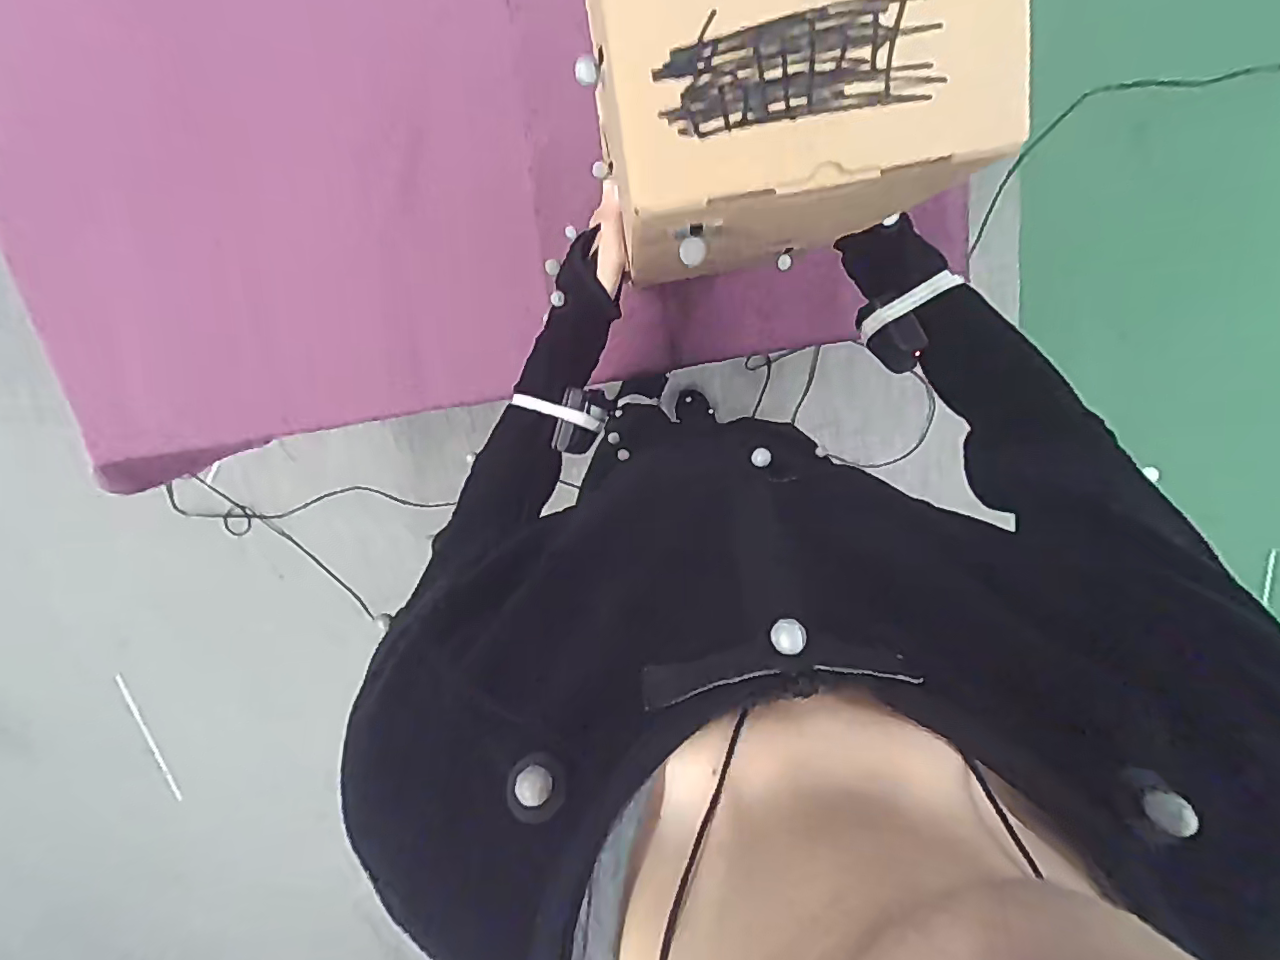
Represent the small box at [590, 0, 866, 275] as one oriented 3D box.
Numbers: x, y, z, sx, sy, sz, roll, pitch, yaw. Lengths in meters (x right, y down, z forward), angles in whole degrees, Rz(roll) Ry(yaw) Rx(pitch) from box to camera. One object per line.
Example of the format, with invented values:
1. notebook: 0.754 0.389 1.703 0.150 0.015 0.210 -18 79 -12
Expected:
1. small box: 0.063 -0.278 0.448 0.179 0.176 0.168 -10 103 2
